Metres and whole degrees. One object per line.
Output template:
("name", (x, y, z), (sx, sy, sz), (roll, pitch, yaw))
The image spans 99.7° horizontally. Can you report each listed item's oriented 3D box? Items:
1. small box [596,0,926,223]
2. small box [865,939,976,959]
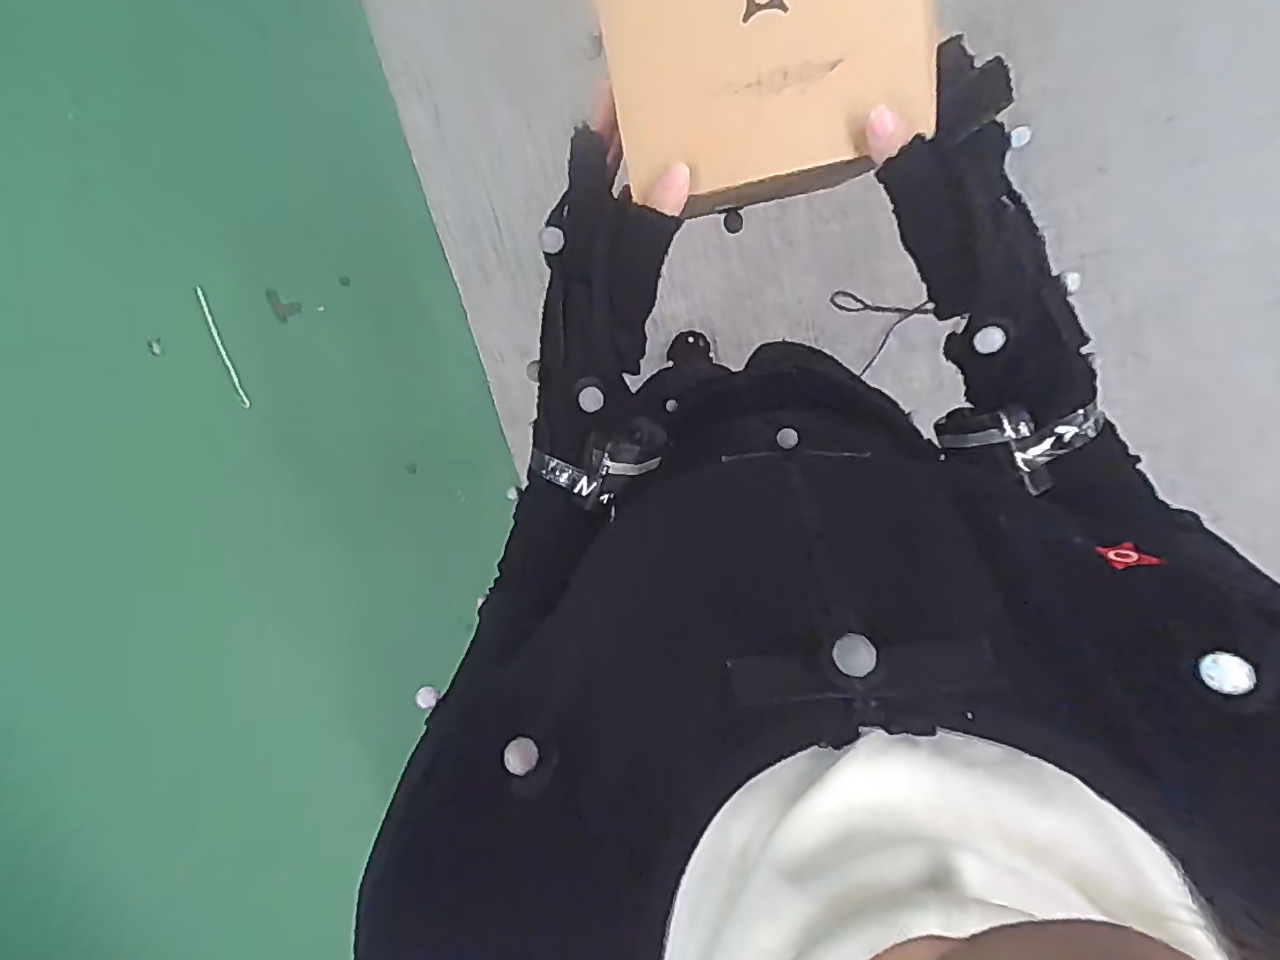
("small box", (0.060, -0.279, 0.345), (0.168, 0.176, 0.179), (-10, 111, 5))
("small box", (0.455, 0.852, 0.826), (0.179, 0.176, 0.168), (-12, 105, 7))
